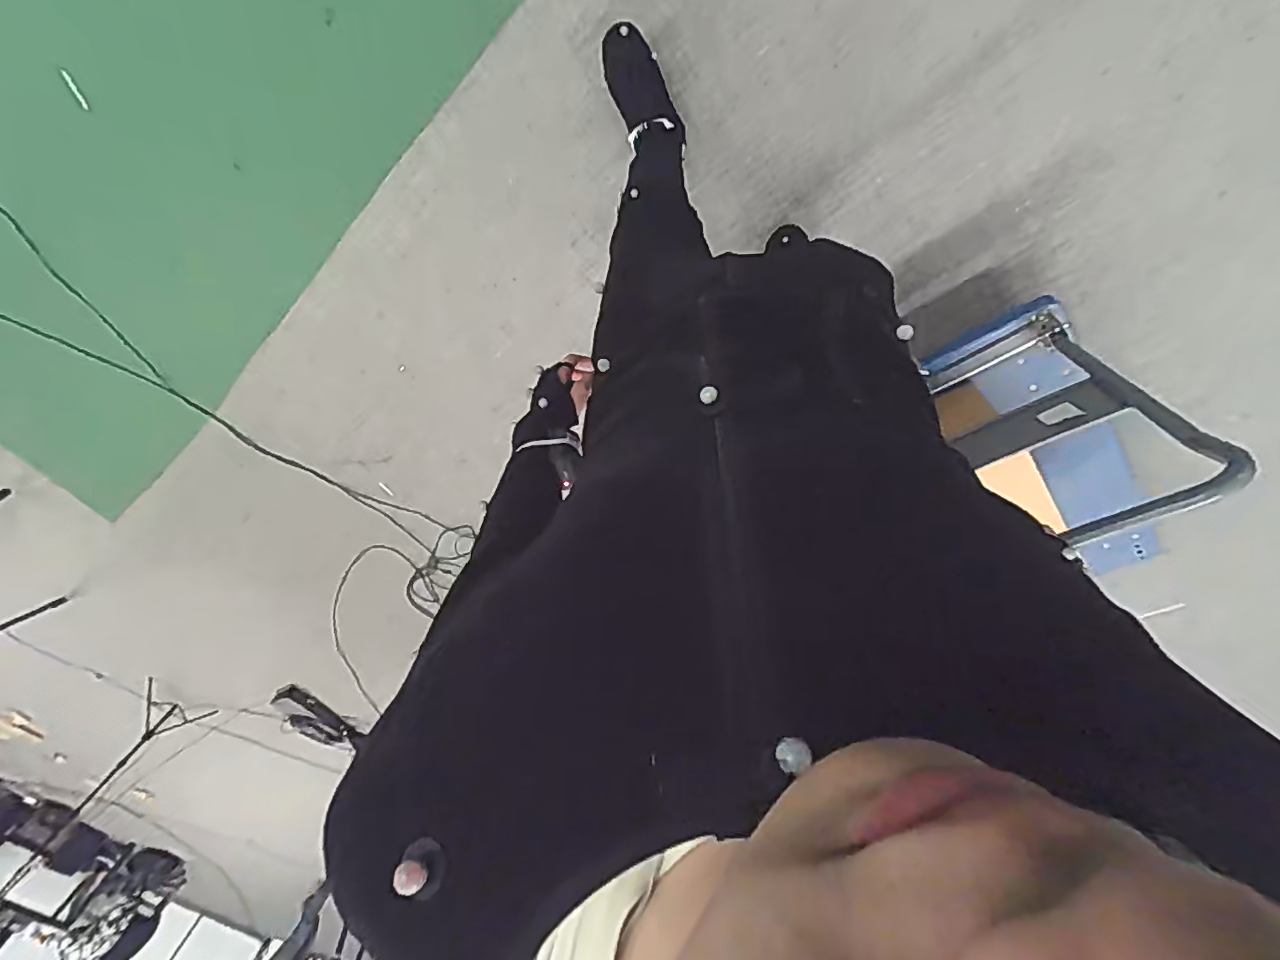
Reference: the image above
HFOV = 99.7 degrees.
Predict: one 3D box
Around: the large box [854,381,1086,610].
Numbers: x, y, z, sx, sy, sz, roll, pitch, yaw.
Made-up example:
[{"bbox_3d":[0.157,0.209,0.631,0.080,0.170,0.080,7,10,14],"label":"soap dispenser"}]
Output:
[{"bbox_3d":[0.787,0.038,1.334,0.320,0.320,0.408,-30,115,28],"label":"large box"}]
